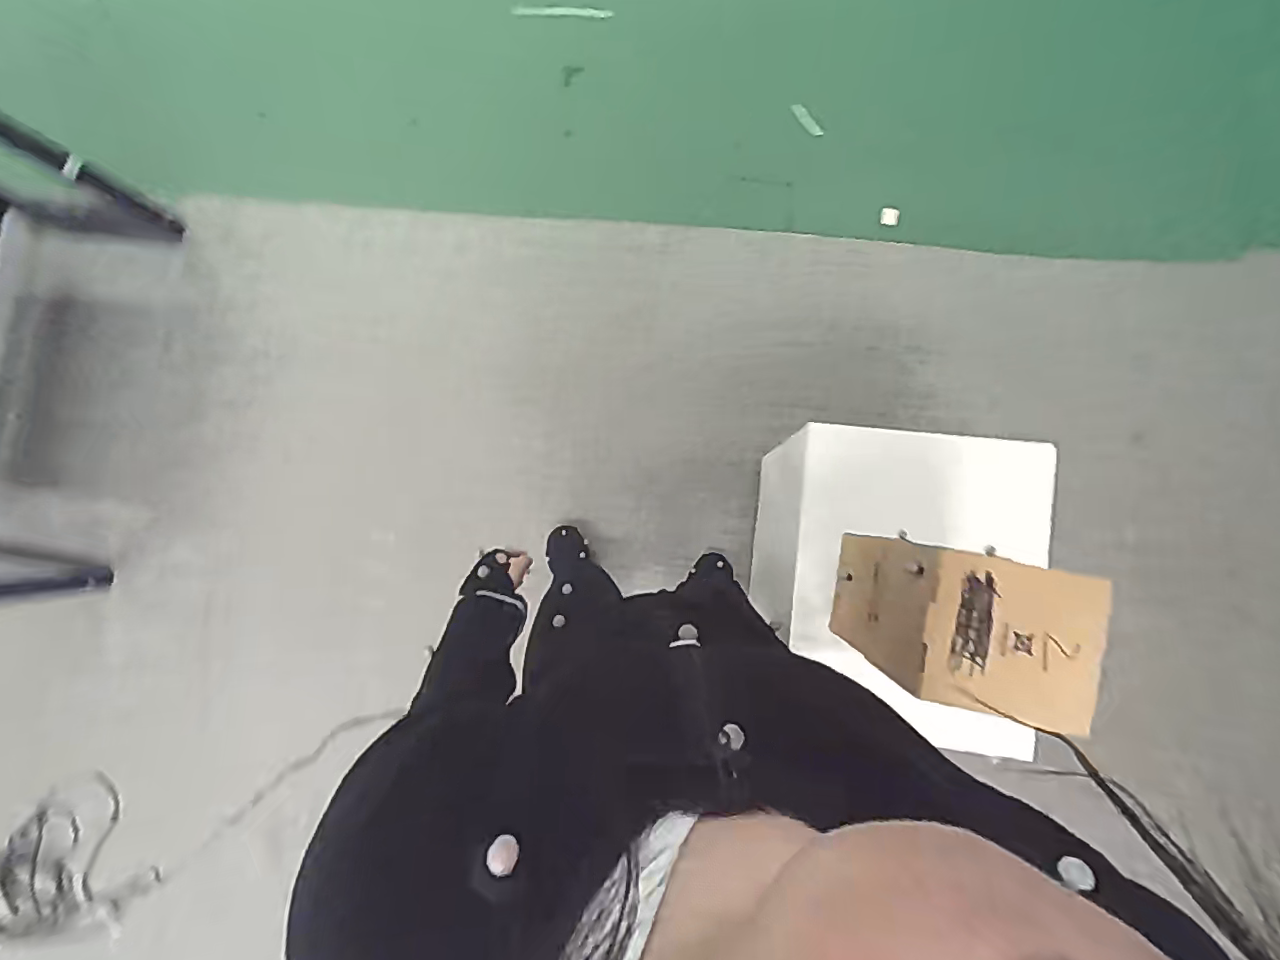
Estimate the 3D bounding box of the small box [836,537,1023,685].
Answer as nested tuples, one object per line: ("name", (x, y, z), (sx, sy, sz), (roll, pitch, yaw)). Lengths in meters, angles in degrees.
("small box", (0.405, 0.177, 0.784), (0.179, 0.176, 0.168), (9, 86, 5))
